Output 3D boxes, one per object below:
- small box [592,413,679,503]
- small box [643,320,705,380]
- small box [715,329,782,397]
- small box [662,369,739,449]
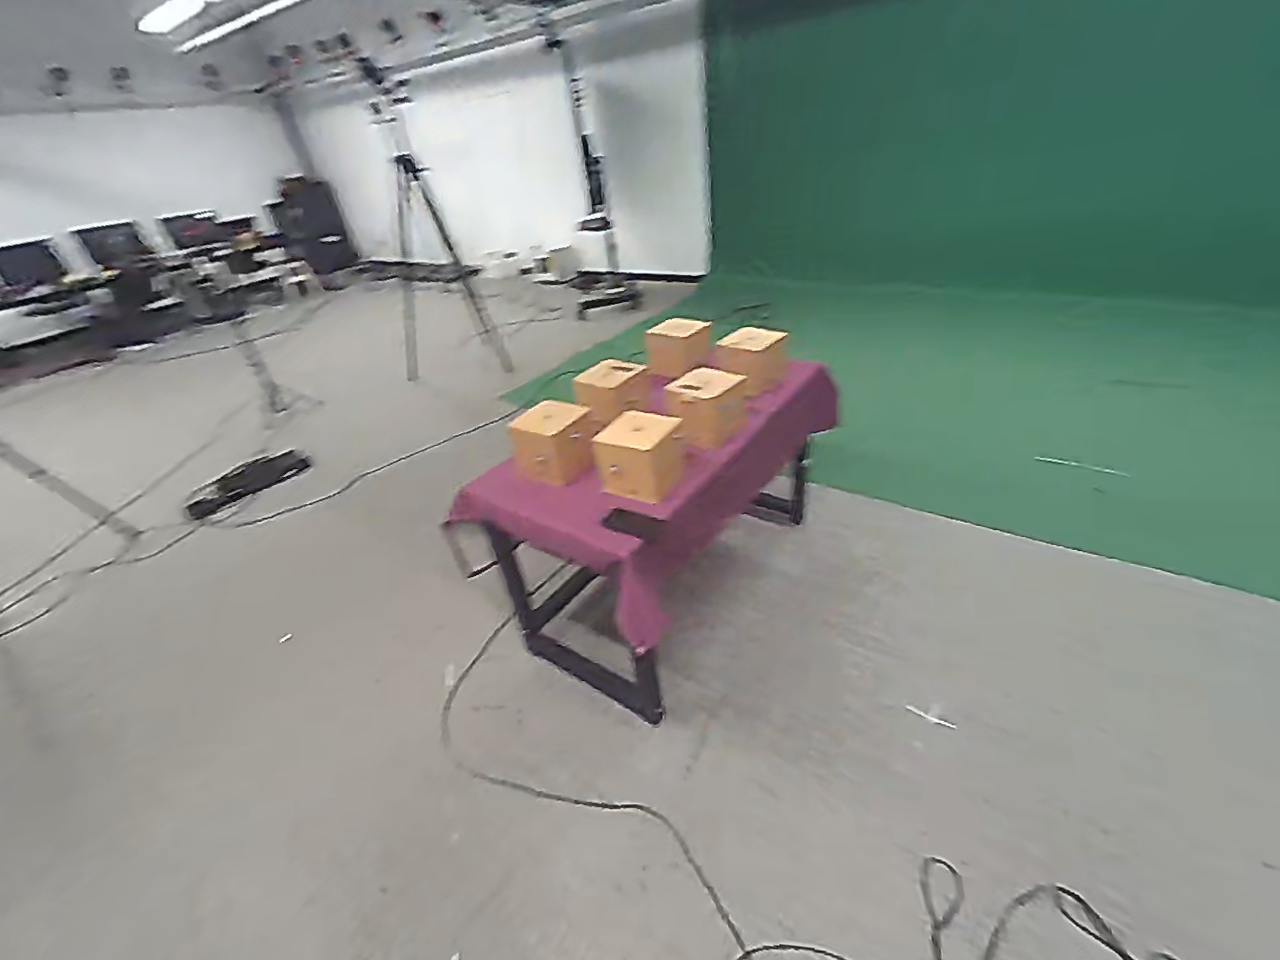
[{"bbox_3d":[-0.004,-0.059,1.442,0.168,0.176,0.179,12,37,28],"label":"small box"},{"bbox_3d":[0.133,-0.496,2.067,0.179,0.176,0.168,21,43,35],"label":"small box"},{"bbox_3d":[0.377,-0.409,1.888,0.168,0.176,0.179,22,43,38],"label":"small box"},{"bbox_3d":[0.190,-0.214,1.634,0.168,0.176,0.179,22,43,37],"label":"small box"}]
